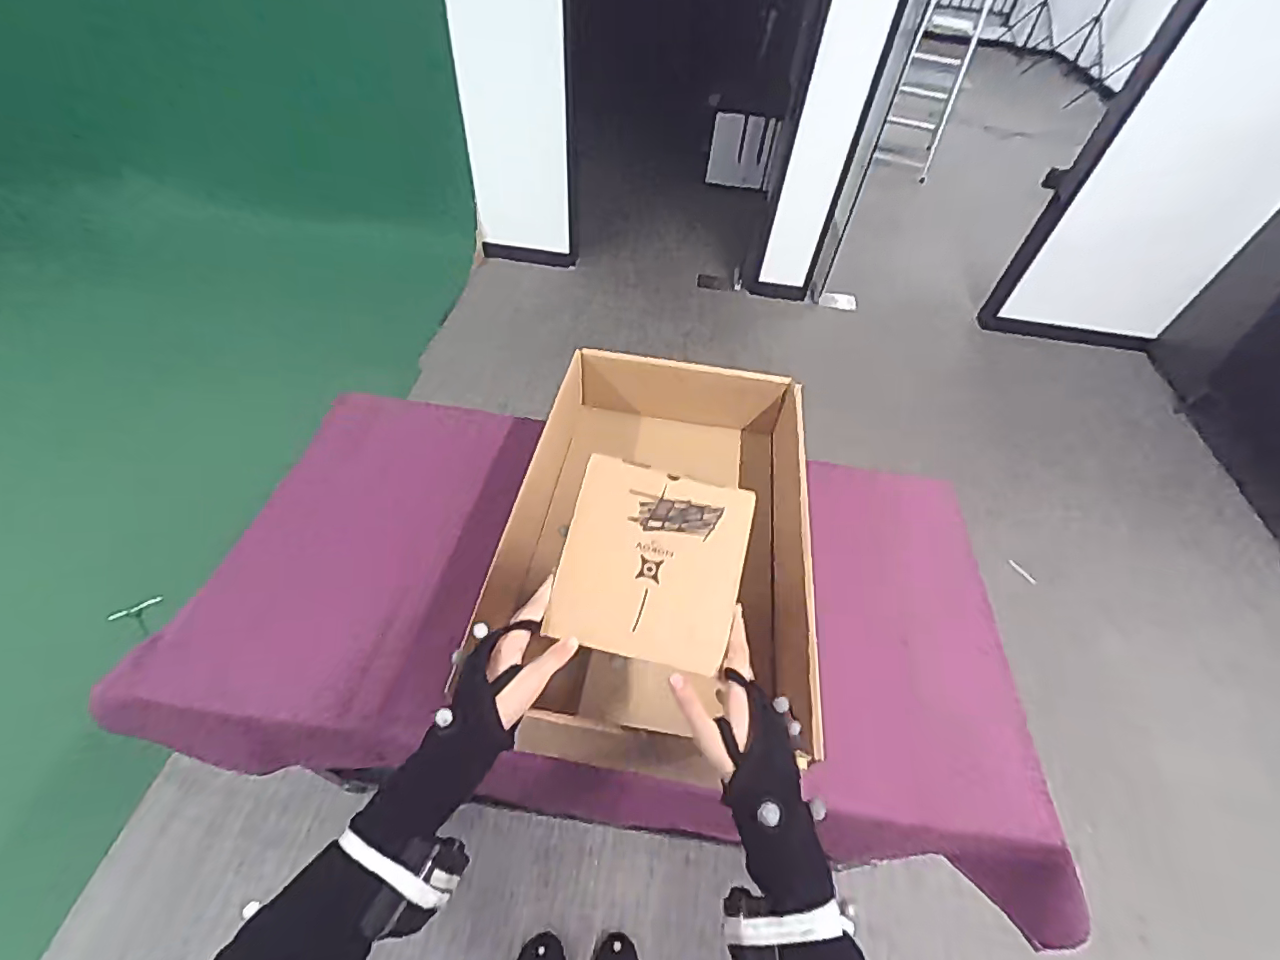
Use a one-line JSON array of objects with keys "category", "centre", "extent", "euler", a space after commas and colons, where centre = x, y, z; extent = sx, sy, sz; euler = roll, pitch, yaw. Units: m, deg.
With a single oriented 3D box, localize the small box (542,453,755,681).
[{"category": "small box", "centre": [0.006, 0.095, 0.569], "extent": [0.168, 0.176, 0.179], "euler": [15, 74, 0]}]
